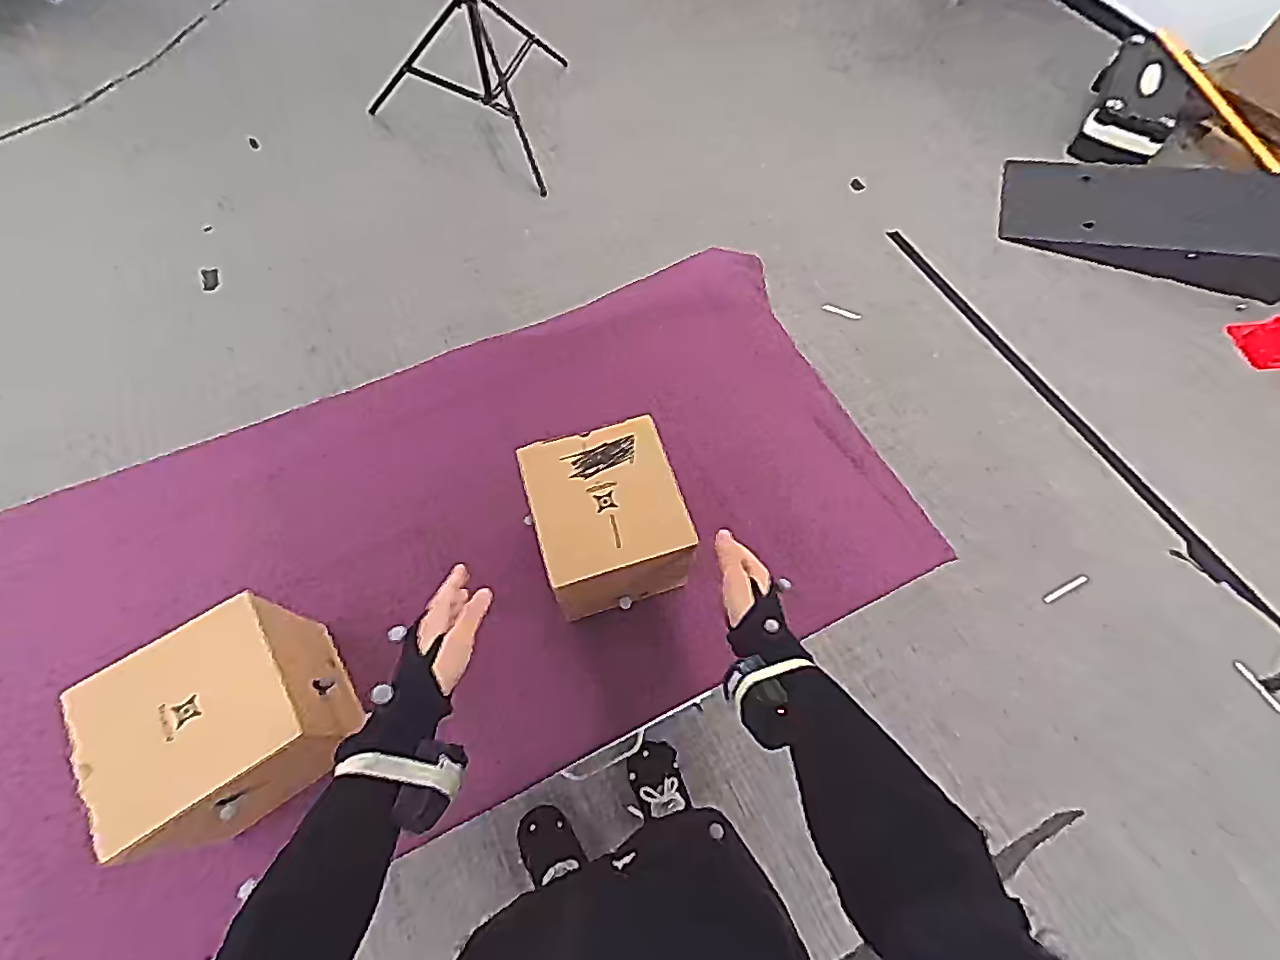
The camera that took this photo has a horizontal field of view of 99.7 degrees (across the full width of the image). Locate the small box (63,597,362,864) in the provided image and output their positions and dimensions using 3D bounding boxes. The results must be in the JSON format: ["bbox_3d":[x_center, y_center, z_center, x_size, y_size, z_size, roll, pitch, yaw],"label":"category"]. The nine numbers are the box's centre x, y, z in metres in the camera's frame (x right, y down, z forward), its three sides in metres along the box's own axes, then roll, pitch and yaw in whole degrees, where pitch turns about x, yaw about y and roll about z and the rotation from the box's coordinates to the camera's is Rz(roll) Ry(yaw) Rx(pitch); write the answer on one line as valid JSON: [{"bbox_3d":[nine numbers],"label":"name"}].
[{"bbox_3d":[-0.428,0.256,0.576,0.179,0.176,0.168,-32,69,-16],"label":"small box"}]

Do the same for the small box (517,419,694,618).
[{"bbox_3d":[-0.046,0.054,0.681,0.168,0.176,0.179,-16,66,-8],"label":"small box"}]
